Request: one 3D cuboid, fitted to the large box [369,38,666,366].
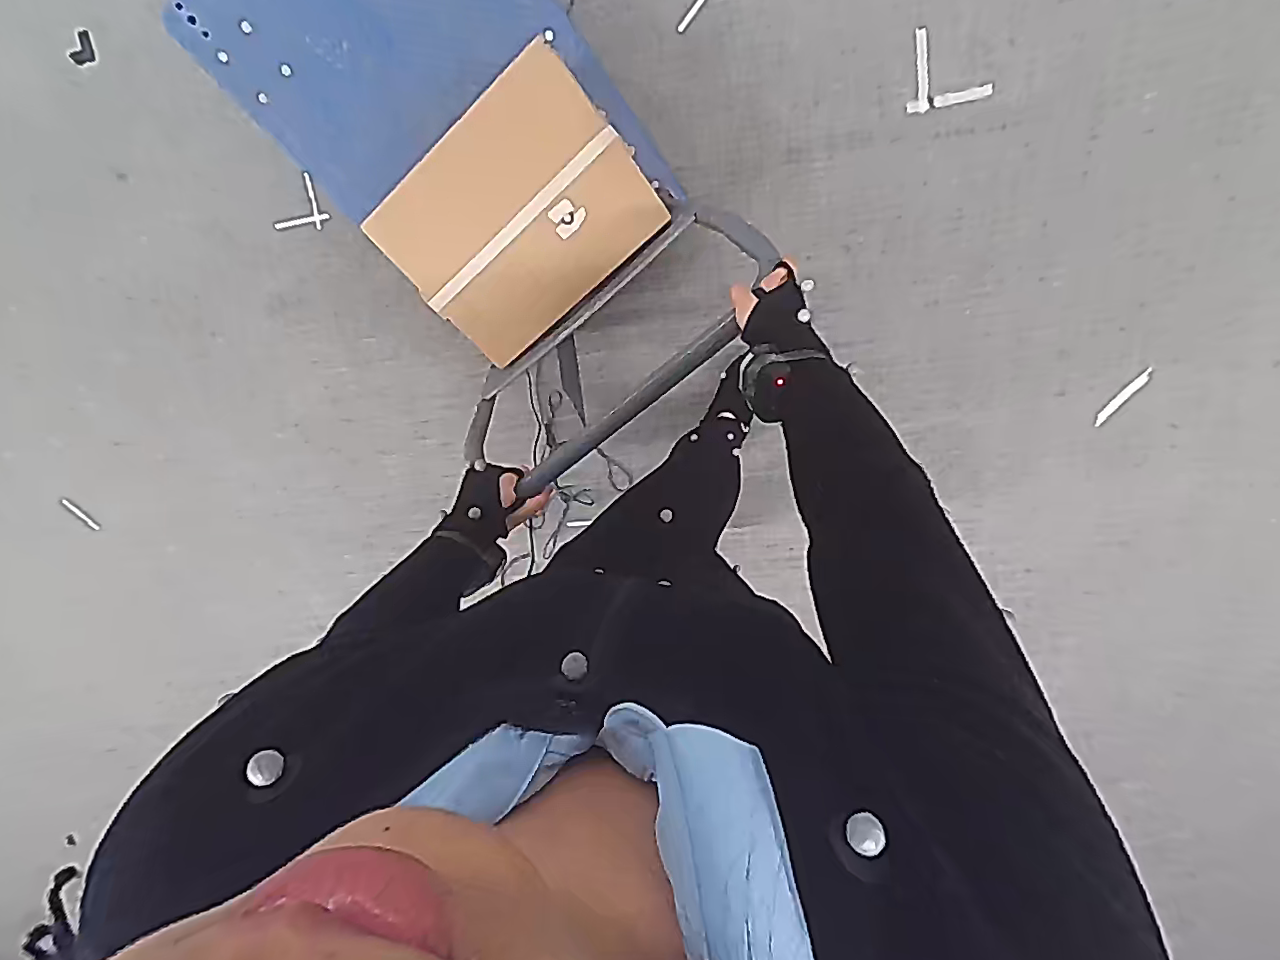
[{"bbox_3d":[-0.214,-0.492,1.025,0.408,0.320,0.320,-38,115,12],"label":"large box"}]
